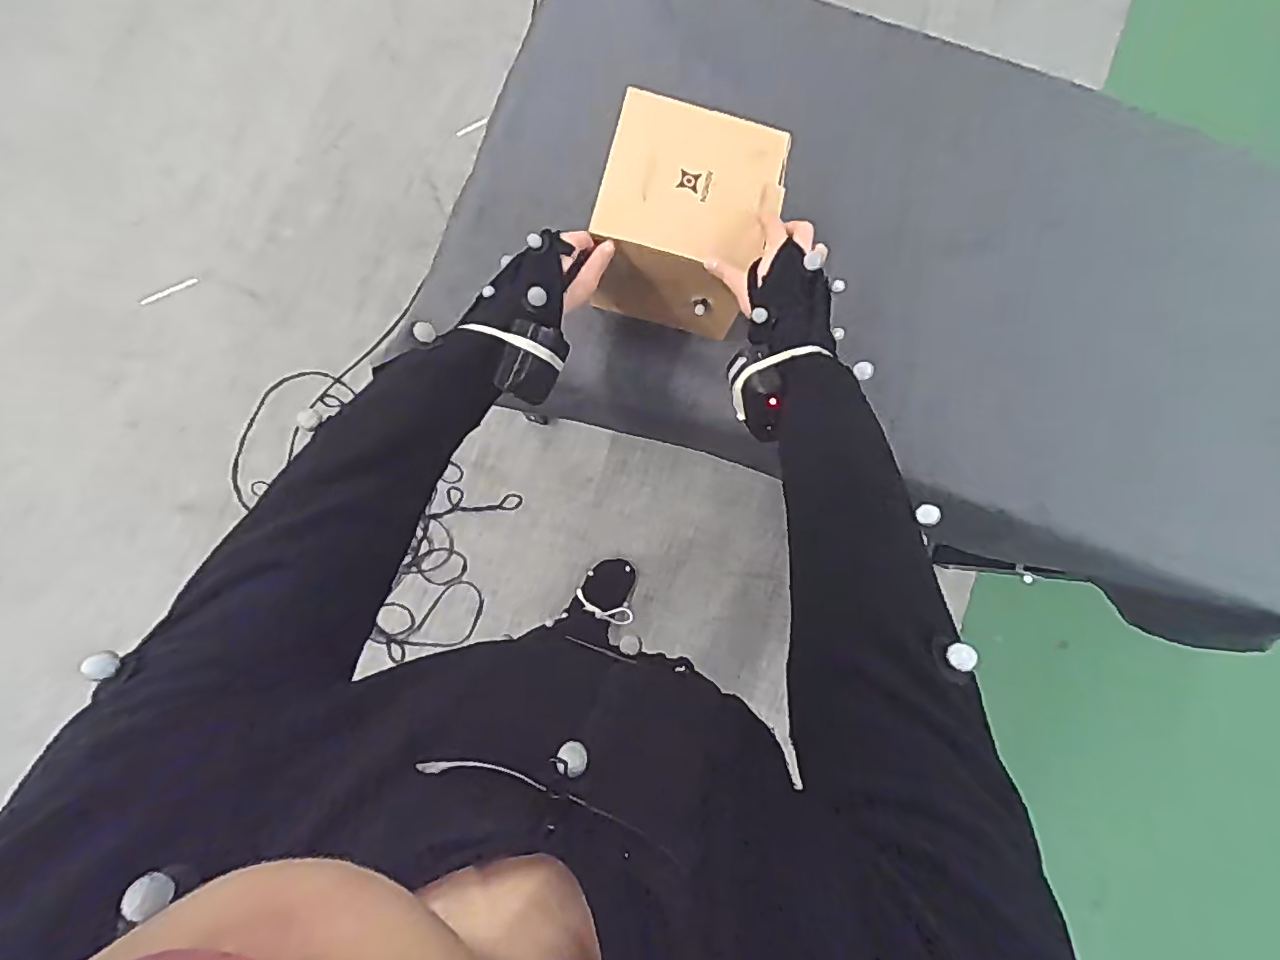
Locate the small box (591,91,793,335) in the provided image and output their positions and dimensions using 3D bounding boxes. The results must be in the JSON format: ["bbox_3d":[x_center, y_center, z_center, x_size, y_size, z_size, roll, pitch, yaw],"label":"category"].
[{"bbox_3d":[0.049,-0.284,0.615,0.179,0.176,0.168,14,82,-2],"label":"small box"}]
